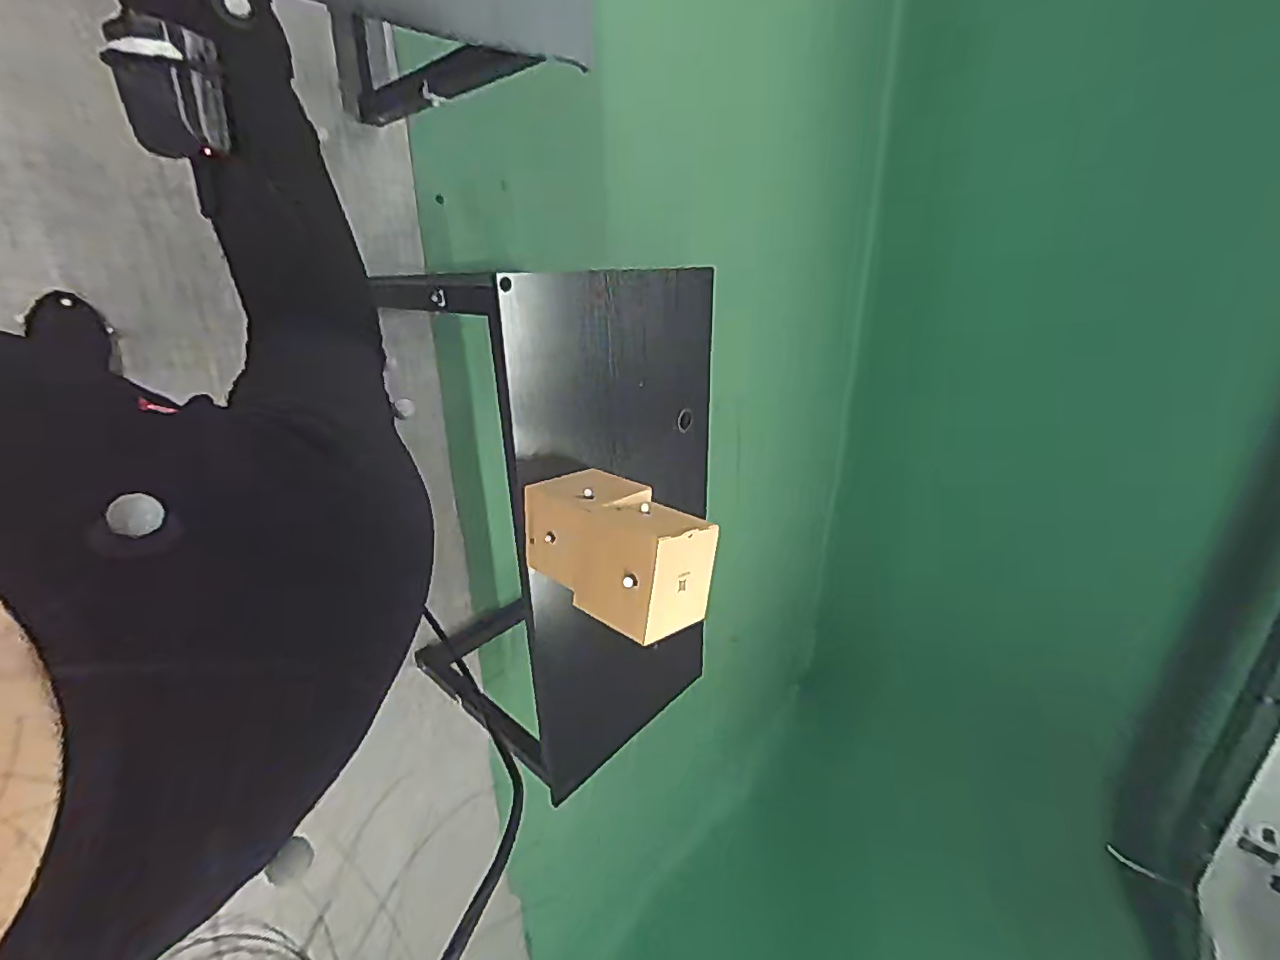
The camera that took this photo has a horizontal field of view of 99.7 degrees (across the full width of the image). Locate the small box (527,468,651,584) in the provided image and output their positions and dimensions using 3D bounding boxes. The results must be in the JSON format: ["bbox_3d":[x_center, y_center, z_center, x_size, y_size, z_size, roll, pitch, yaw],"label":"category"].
[{"bbox_3d":[-0.100,0.085,1.028,0.179,0.176,0.168,-18,118,-45],"label":"small box"}]

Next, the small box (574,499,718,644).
[{"bbox_3d":[0.005,0.144,0.917,0.168,0.176,0.179,-7,109,-48],"label":"small box"}]
